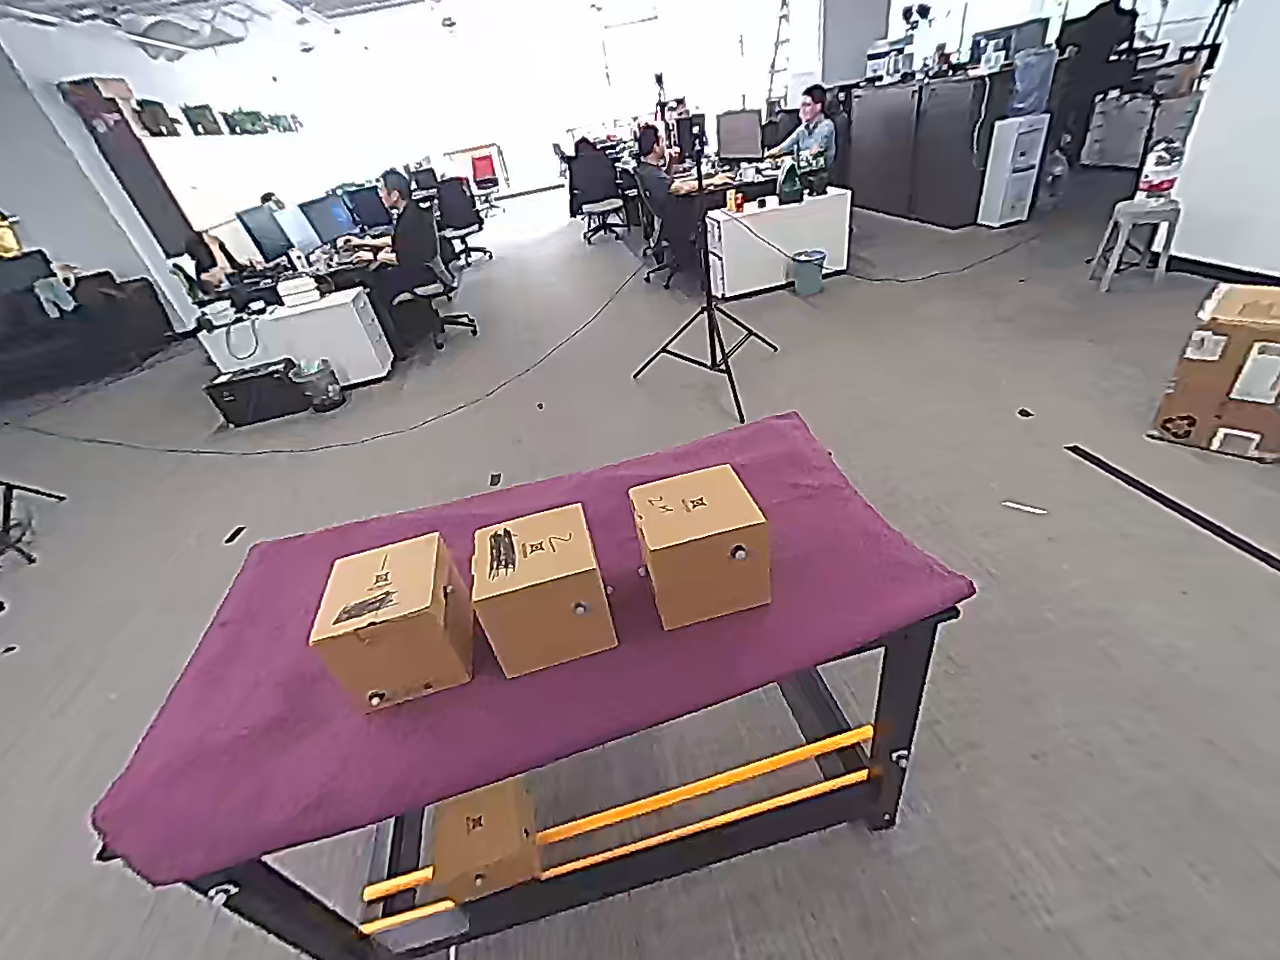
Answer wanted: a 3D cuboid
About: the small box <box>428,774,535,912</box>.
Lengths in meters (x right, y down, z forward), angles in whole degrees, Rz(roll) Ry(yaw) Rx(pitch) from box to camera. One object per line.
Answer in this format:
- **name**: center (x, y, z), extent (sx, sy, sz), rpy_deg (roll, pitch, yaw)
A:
- **small box**: center (-0.327, 0.761, 1.136), extent (0.179, 0.176, 0.168), rpy_deg (-18, 37, -8)
